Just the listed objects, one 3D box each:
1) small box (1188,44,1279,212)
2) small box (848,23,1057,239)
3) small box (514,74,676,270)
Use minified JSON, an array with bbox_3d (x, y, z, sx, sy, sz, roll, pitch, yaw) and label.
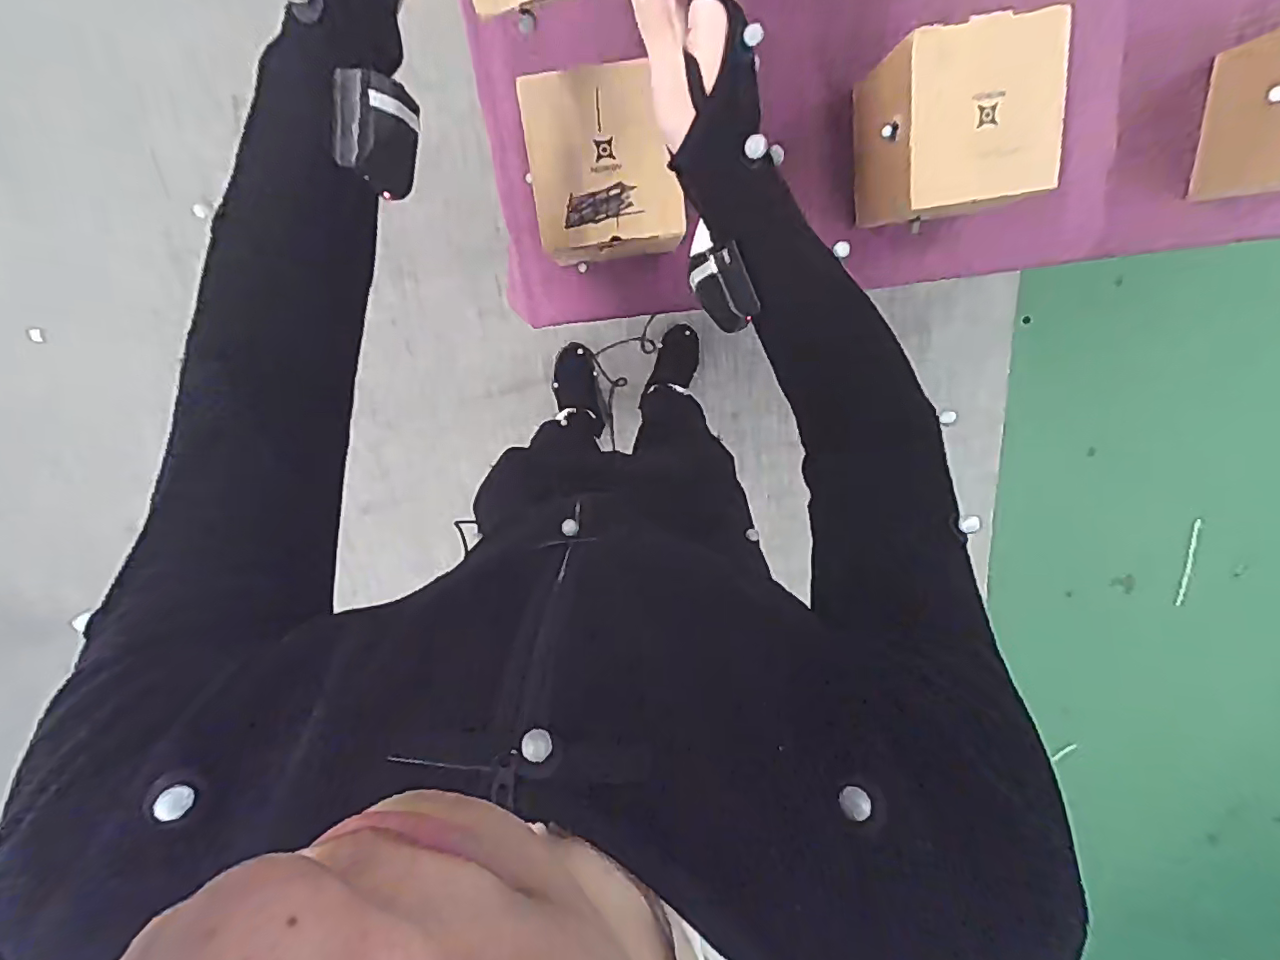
[{"bbox_3d":[0.835,-0.441,0.657,0.168,0.176,0.179,-5,109,3],"label":"small box"},{"bbox_3d":[0.368,-0.412,0.670,0.168,0.176,0.179,-7,107,3],"label":"small box"},{"bbox_3d":[-0.046,-0.368,0.682,0.168,0.176,0.179,-7,106,2],"label":"small box"}]
